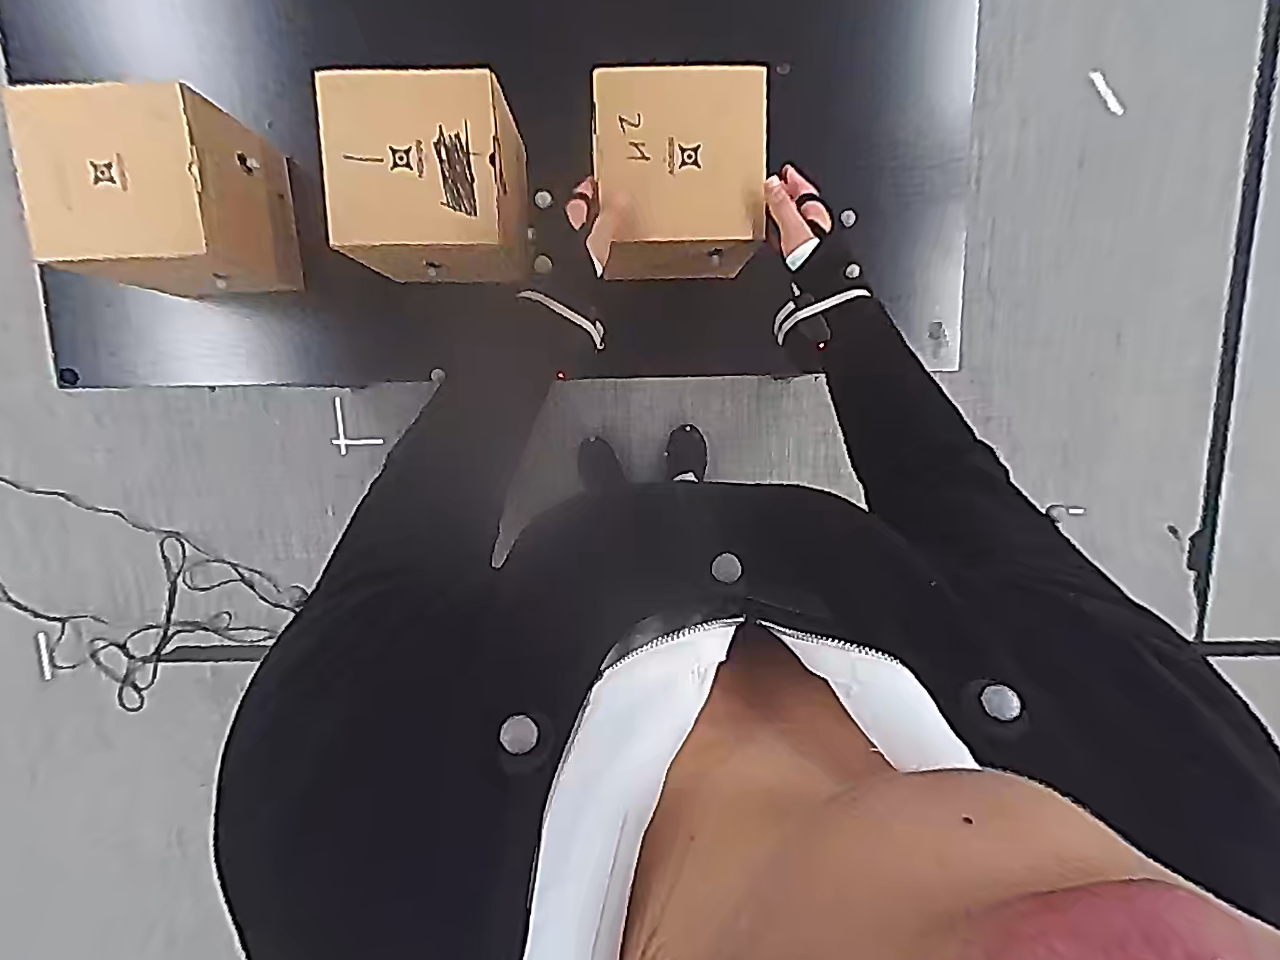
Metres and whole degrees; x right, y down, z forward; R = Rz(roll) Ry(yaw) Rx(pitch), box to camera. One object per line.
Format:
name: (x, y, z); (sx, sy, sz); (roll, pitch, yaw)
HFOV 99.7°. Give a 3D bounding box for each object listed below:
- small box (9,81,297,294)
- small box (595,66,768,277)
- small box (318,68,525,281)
small box: (-0.525, -0.317, 0.618); (0.179, 0.176, 0.168); (-4, 97, 0)
small box: (0.040, -0.340, 0.627); (0.179, 0.176, 0.168); (-2, 98, -1)
small box: (-0.231, -0.333, 0.621); (0.179, 0.176, 0.168); (0, 98, 0)
